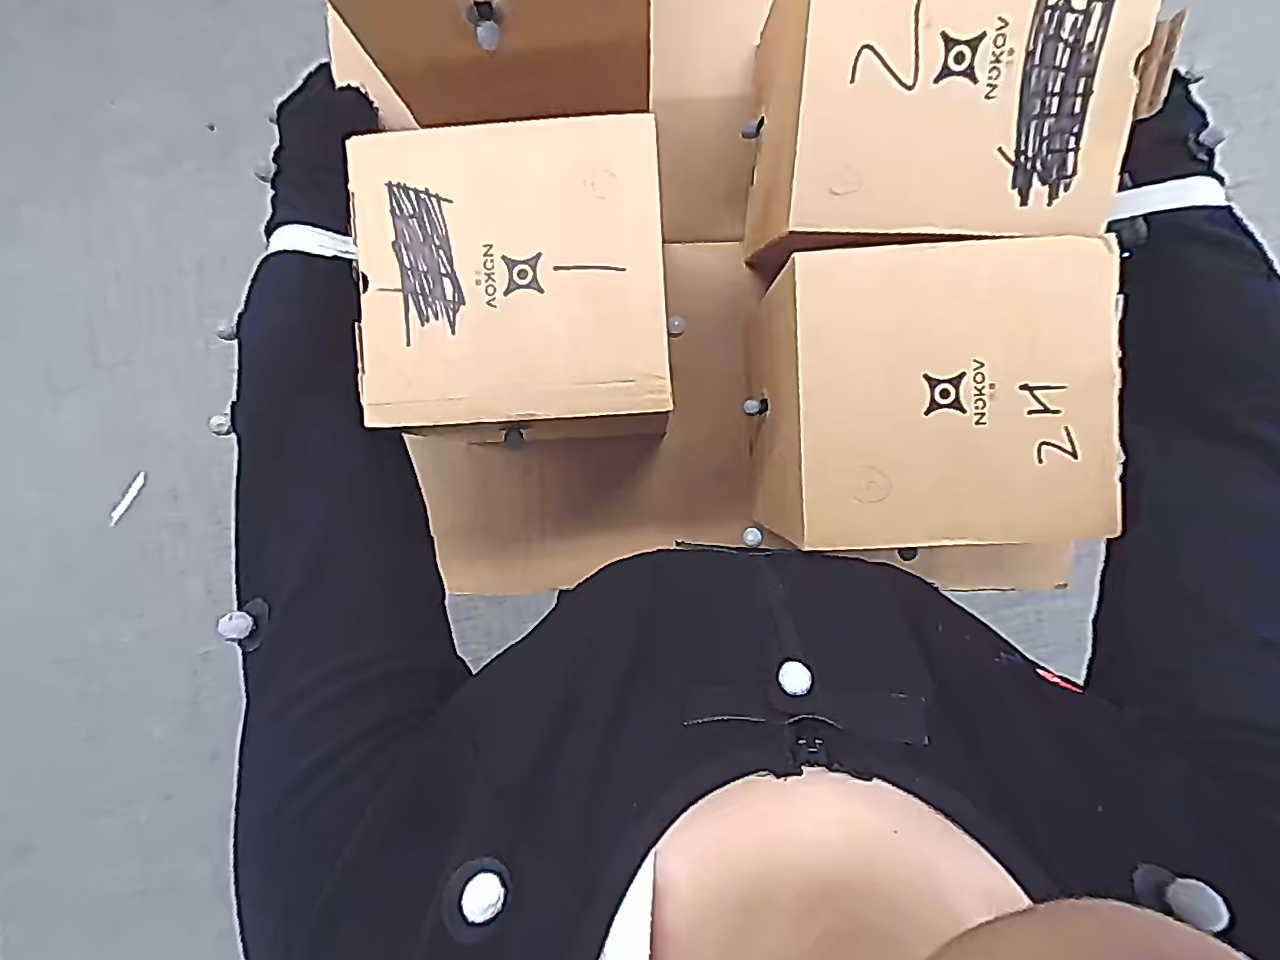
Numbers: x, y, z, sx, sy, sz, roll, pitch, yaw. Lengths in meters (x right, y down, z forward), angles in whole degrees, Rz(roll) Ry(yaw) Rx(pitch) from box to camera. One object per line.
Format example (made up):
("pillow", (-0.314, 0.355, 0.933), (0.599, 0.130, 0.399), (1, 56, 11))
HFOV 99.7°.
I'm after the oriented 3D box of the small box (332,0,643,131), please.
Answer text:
("small box", (-0.090, -0.356, 0.341), (0.179, 0.176, 0.168), (-6, 95, 3))
